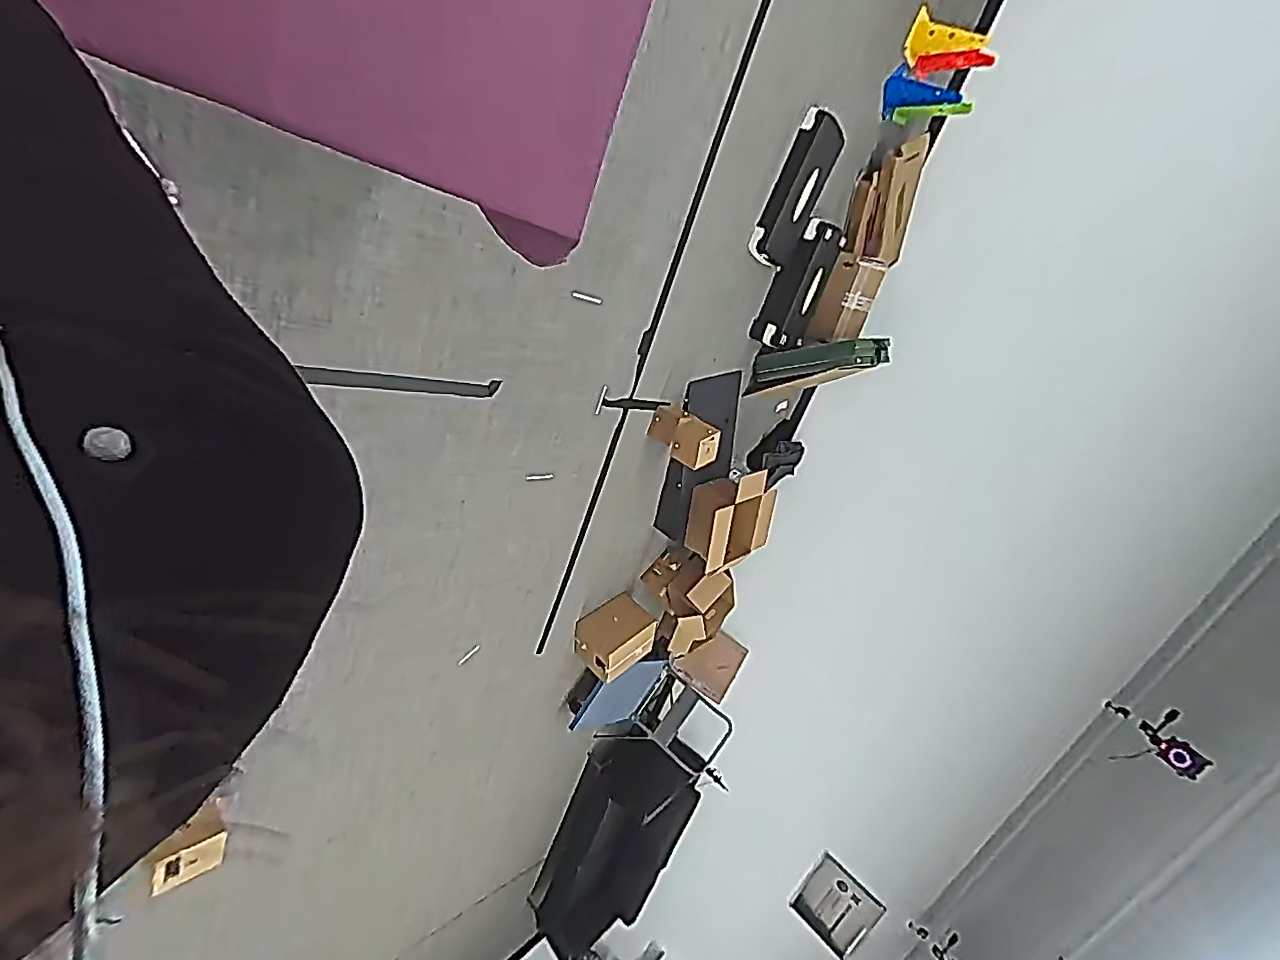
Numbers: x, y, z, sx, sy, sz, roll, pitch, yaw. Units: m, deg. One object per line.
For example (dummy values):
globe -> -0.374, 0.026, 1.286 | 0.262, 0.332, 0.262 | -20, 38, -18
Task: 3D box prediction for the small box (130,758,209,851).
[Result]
small box -> -1.550, 1.052, 1.778 | 0.168, 0.176, 0.179 | -5, 124, -52
